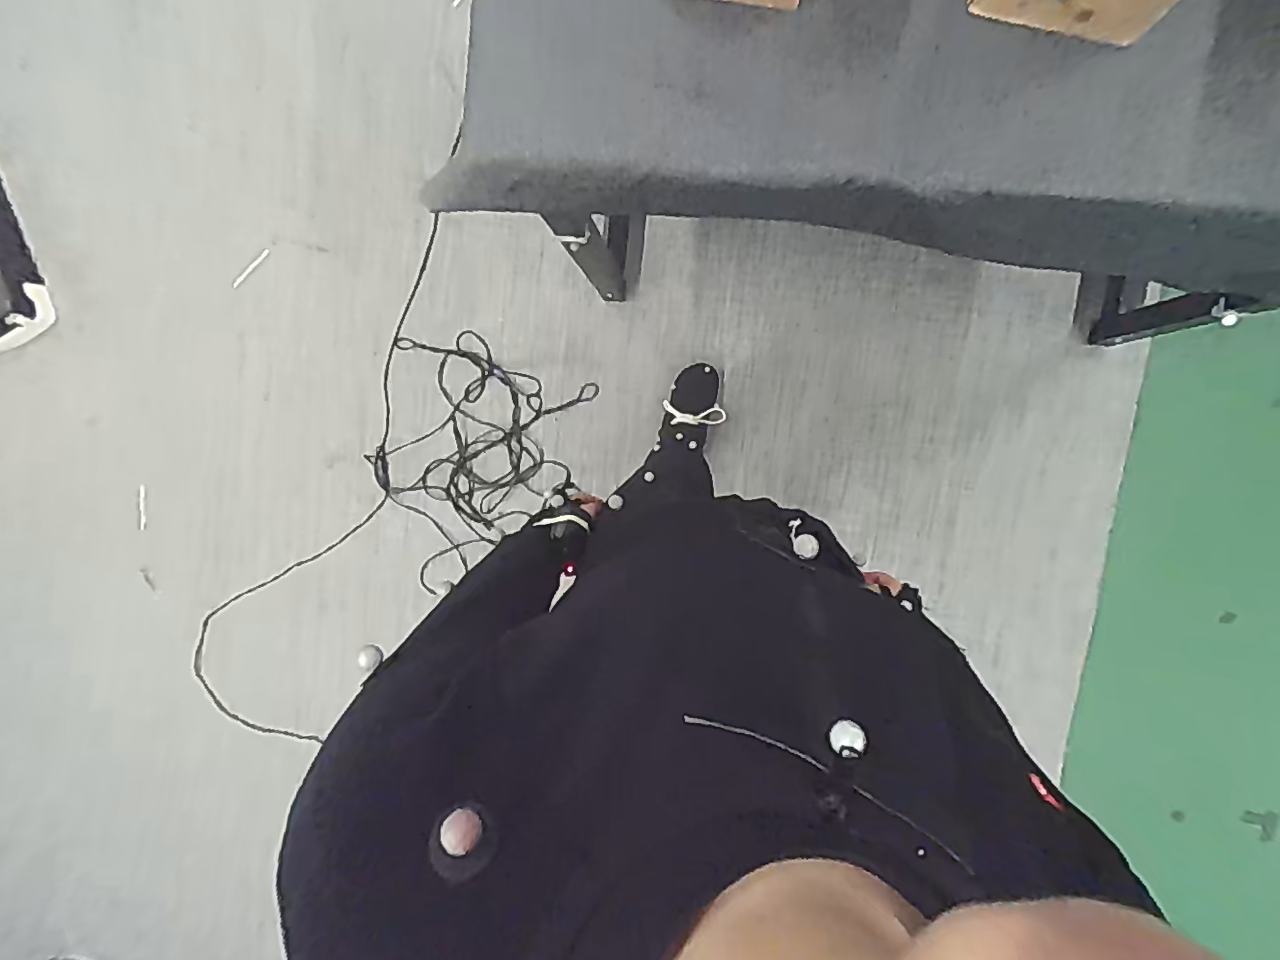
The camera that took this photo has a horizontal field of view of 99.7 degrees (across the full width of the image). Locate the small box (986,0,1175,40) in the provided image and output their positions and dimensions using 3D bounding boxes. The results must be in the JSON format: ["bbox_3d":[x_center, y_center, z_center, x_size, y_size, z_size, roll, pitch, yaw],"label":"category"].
[{"bbox_3d":[0.425,-0.531,0.450,0.168,0.176,0.179,16,96,4],"label":"small box"}]
